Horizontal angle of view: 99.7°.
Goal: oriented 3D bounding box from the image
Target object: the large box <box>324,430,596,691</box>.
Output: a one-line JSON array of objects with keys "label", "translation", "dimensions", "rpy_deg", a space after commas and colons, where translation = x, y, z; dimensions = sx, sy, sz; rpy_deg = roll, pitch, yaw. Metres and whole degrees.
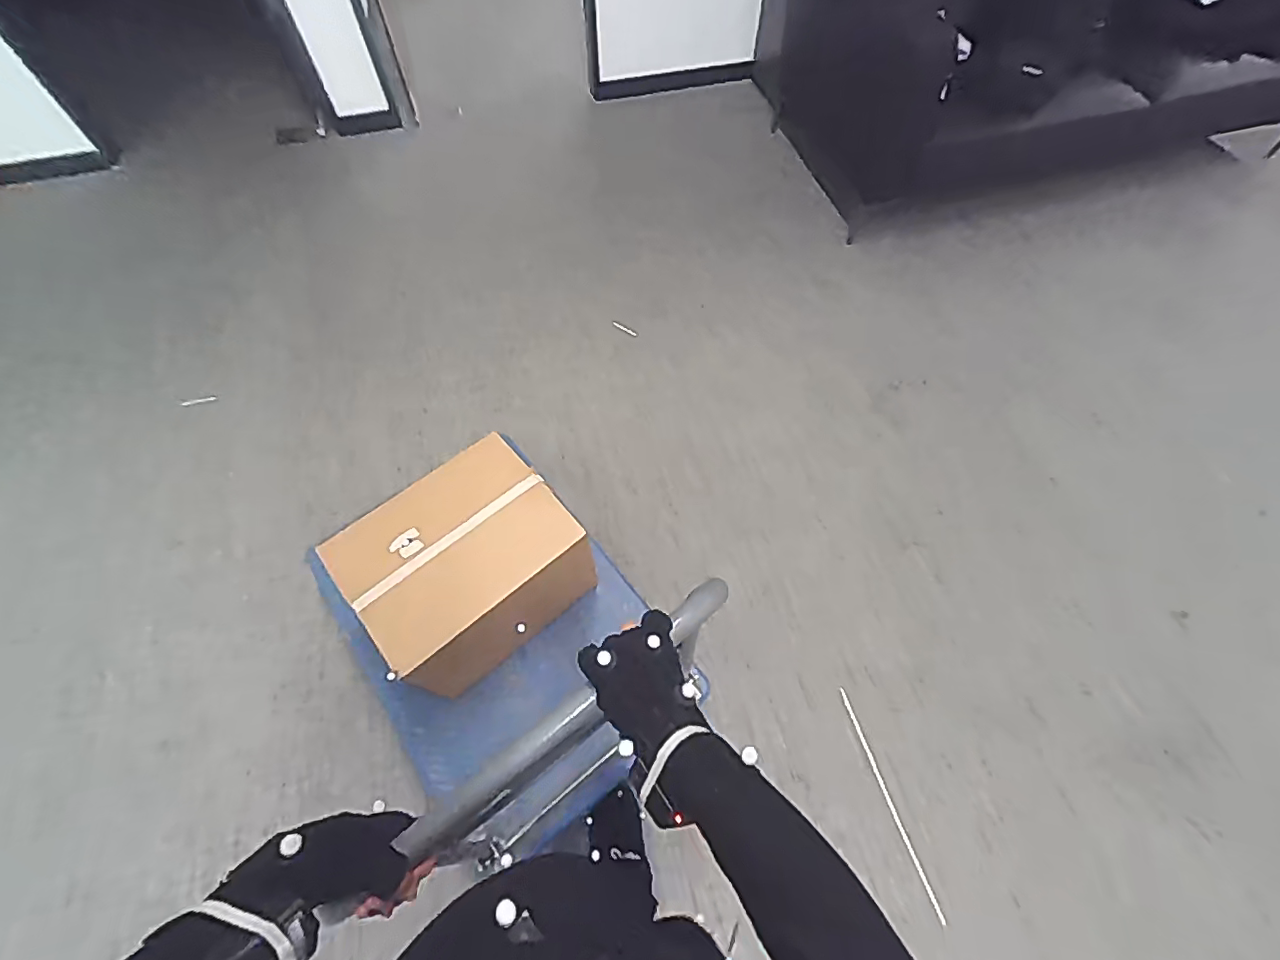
[{"label": "large box", "translation": [-0.345, 0.177, 1.150], "dimensions": [0.408, 0.320, 0.320], "rpy_deg": [-39, 68, -19]}]
